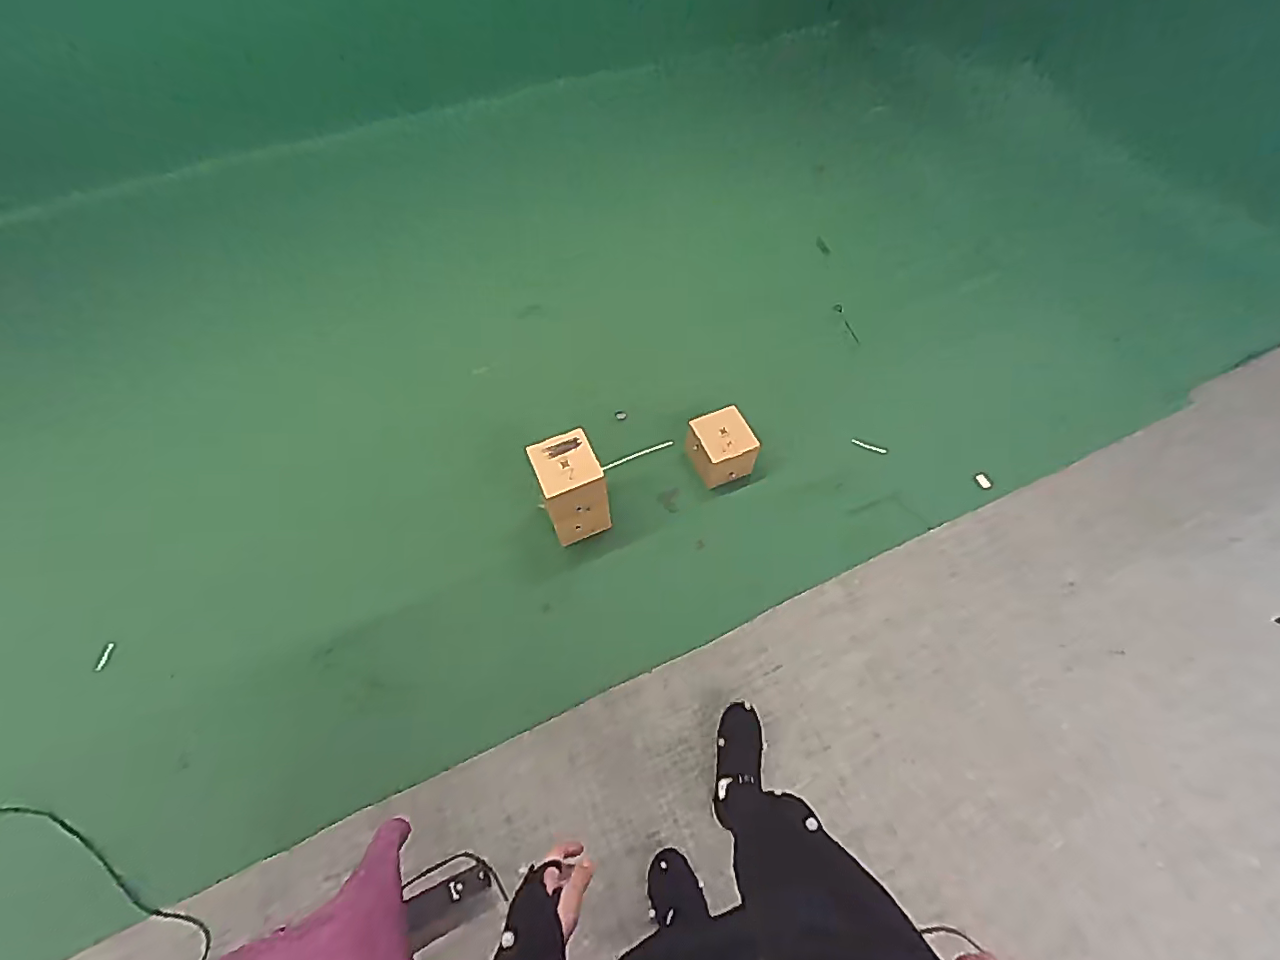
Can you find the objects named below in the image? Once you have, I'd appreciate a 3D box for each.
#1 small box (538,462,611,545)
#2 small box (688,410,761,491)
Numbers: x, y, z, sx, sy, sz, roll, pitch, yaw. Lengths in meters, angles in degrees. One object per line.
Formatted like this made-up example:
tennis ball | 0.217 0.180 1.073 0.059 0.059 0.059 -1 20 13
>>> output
small box | -0.195 0.081 1.660 0.168 0.176 0.179 -22 61 -12
small box | 0.266 -0.093 1.759 0.168 0.176 0.179 -20 62 -12
